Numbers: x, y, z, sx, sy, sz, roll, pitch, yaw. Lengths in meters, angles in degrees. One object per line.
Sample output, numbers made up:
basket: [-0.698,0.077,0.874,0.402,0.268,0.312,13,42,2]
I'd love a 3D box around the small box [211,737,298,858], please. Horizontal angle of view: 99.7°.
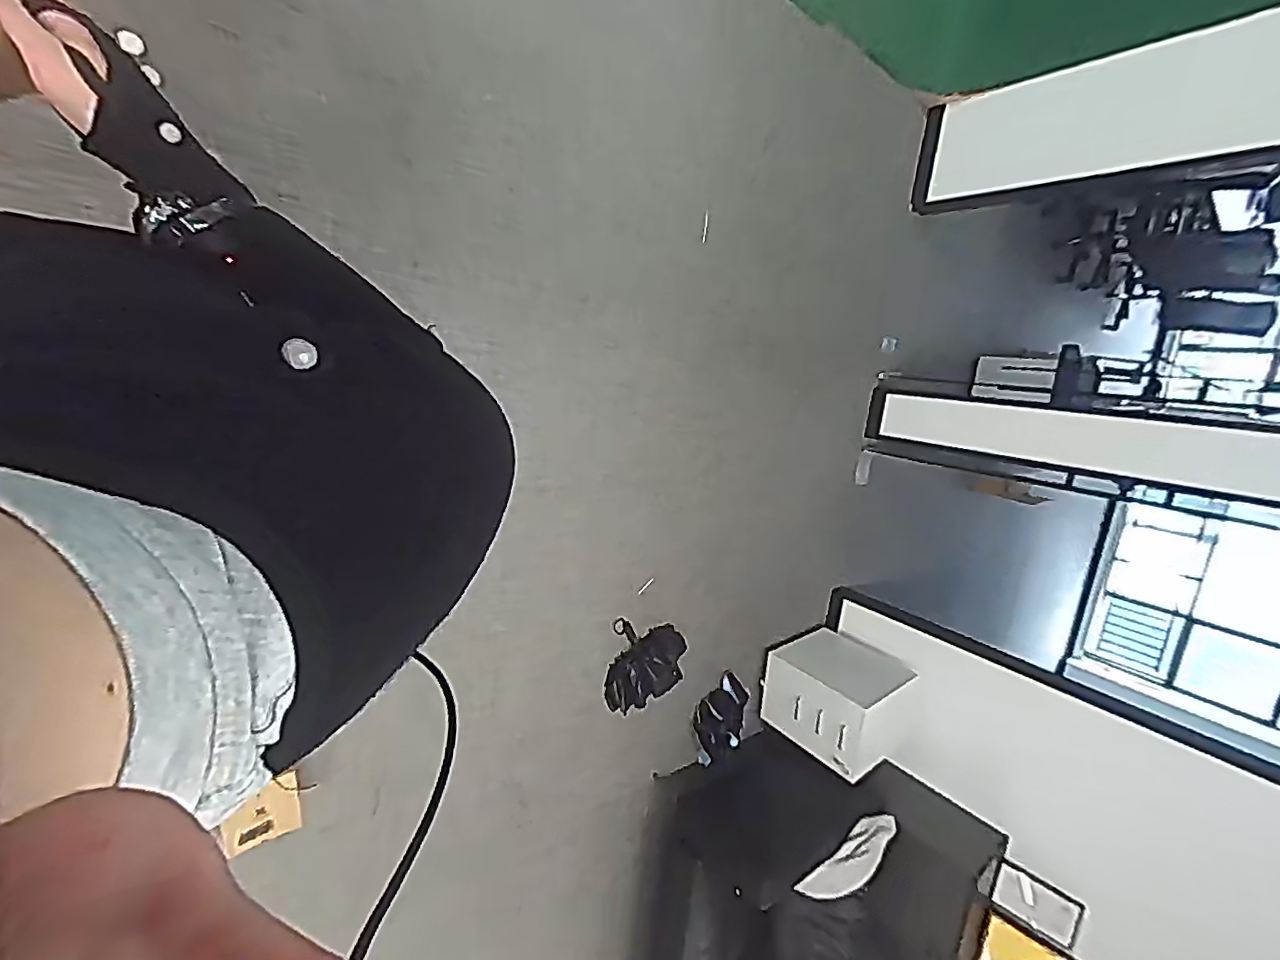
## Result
small box: [-1.000,0.812,1.403,0.168,0.176,0.179,-9,108,-38]

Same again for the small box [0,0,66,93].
small box: [-0.525,-0.335,0.322,0.168,0.176,0.179,-29,124,-14]
